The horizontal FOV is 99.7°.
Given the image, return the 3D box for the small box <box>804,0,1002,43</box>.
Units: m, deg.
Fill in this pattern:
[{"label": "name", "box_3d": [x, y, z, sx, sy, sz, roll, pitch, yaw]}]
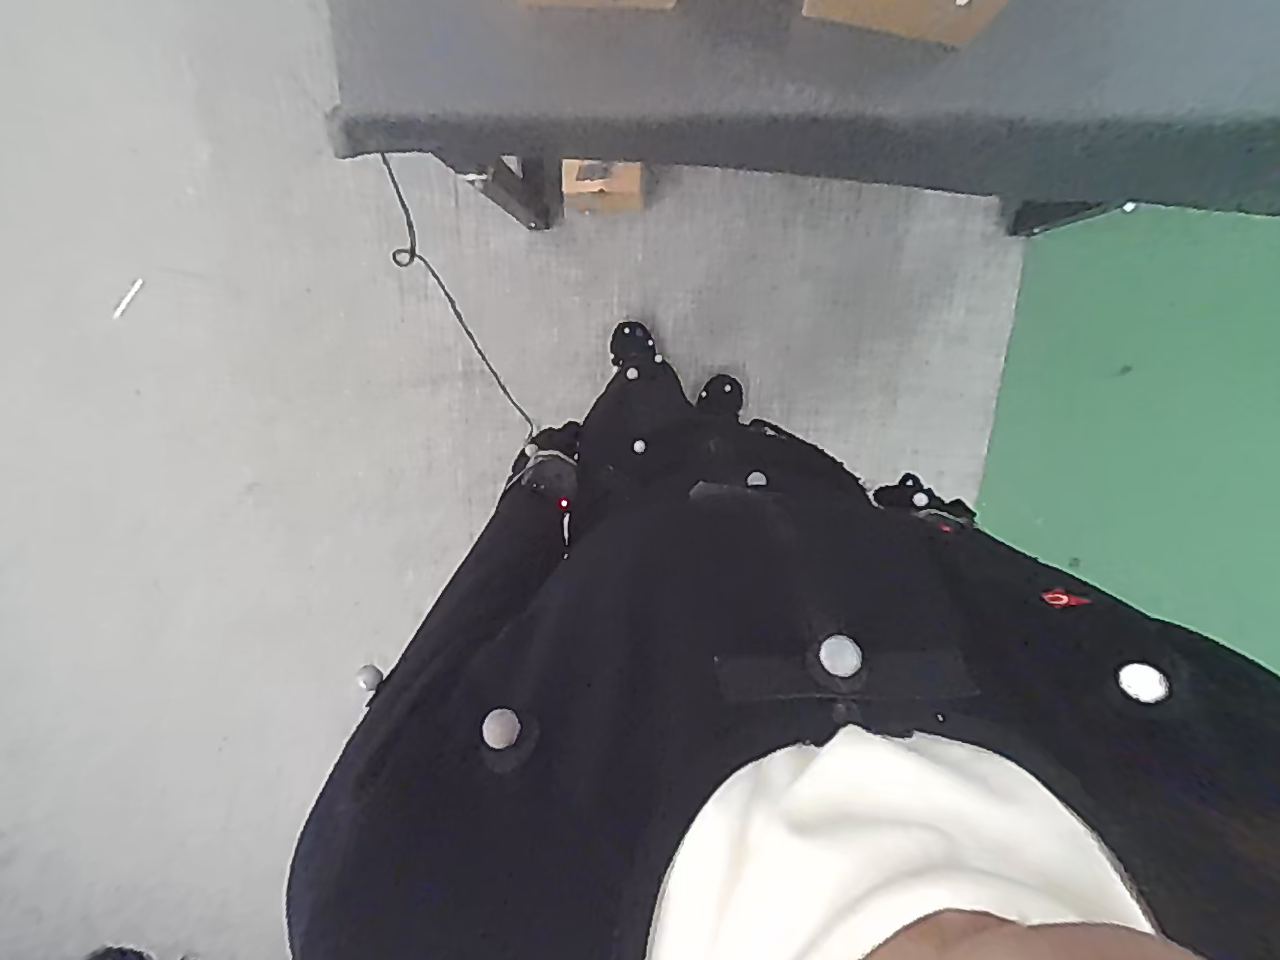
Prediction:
[{"label": "small box", "box_3d": [0.264, -0.525, 0.468, 0.179, 0.176, 0.168, 13, 104, 1]}]
